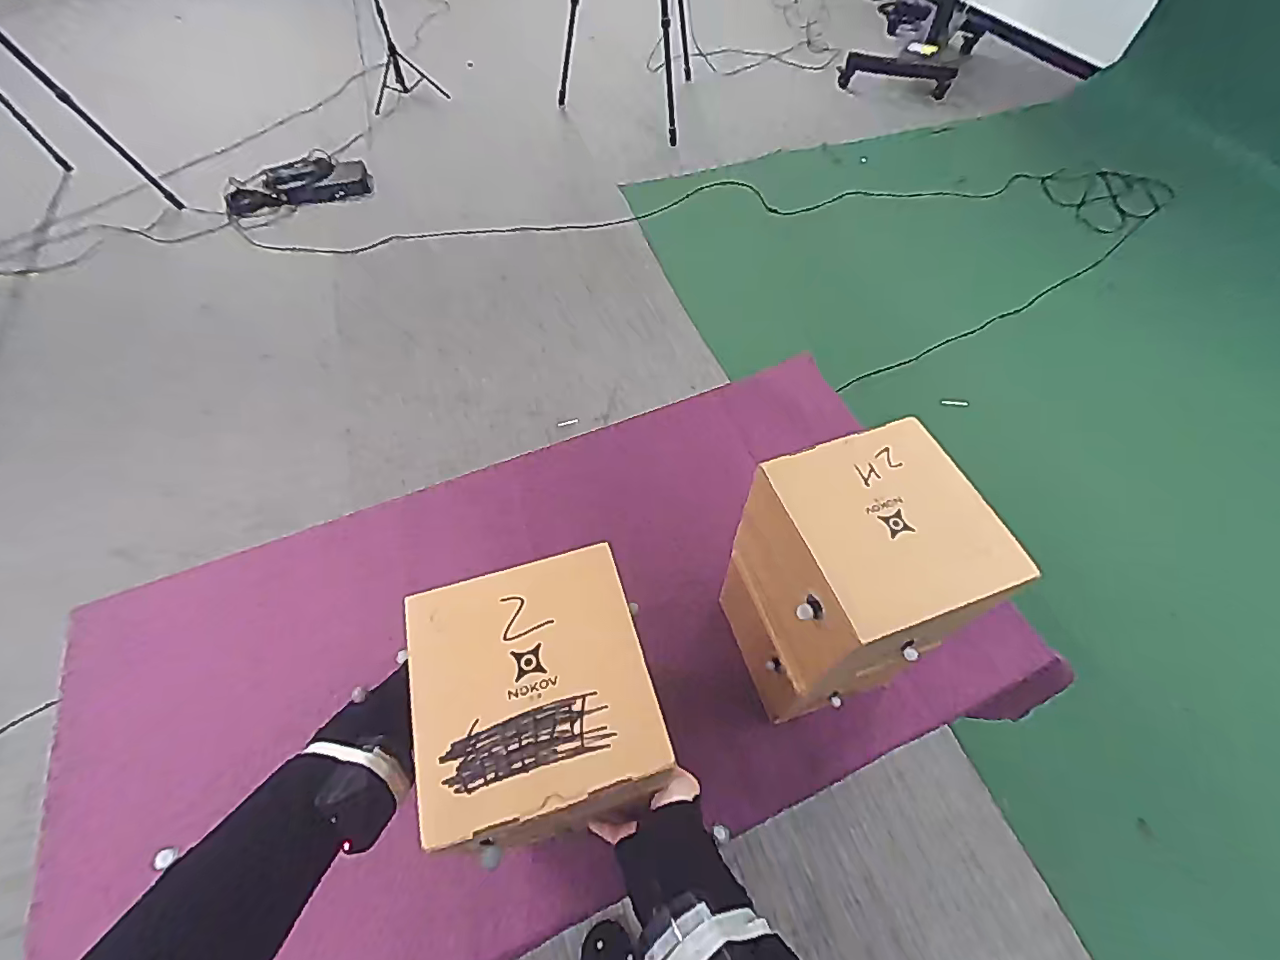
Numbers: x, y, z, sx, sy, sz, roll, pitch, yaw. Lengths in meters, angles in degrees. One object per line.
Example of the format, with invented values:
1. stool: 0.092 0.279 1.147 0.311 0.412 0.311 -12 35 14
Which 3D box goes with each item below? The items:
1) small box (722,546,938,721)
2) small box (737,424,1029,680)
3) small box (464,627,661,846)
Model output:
1. small box: 0.212 0.171 0.667 0.168 0.176 0.179 -16 58 -9
2. small box: 0.212 0.079 0.530 0.168 0.176 0.179 -16 57 -11
3. small box: -0.078 0.285 0.593 0.179 0.176 0.168 -13 57 -7
